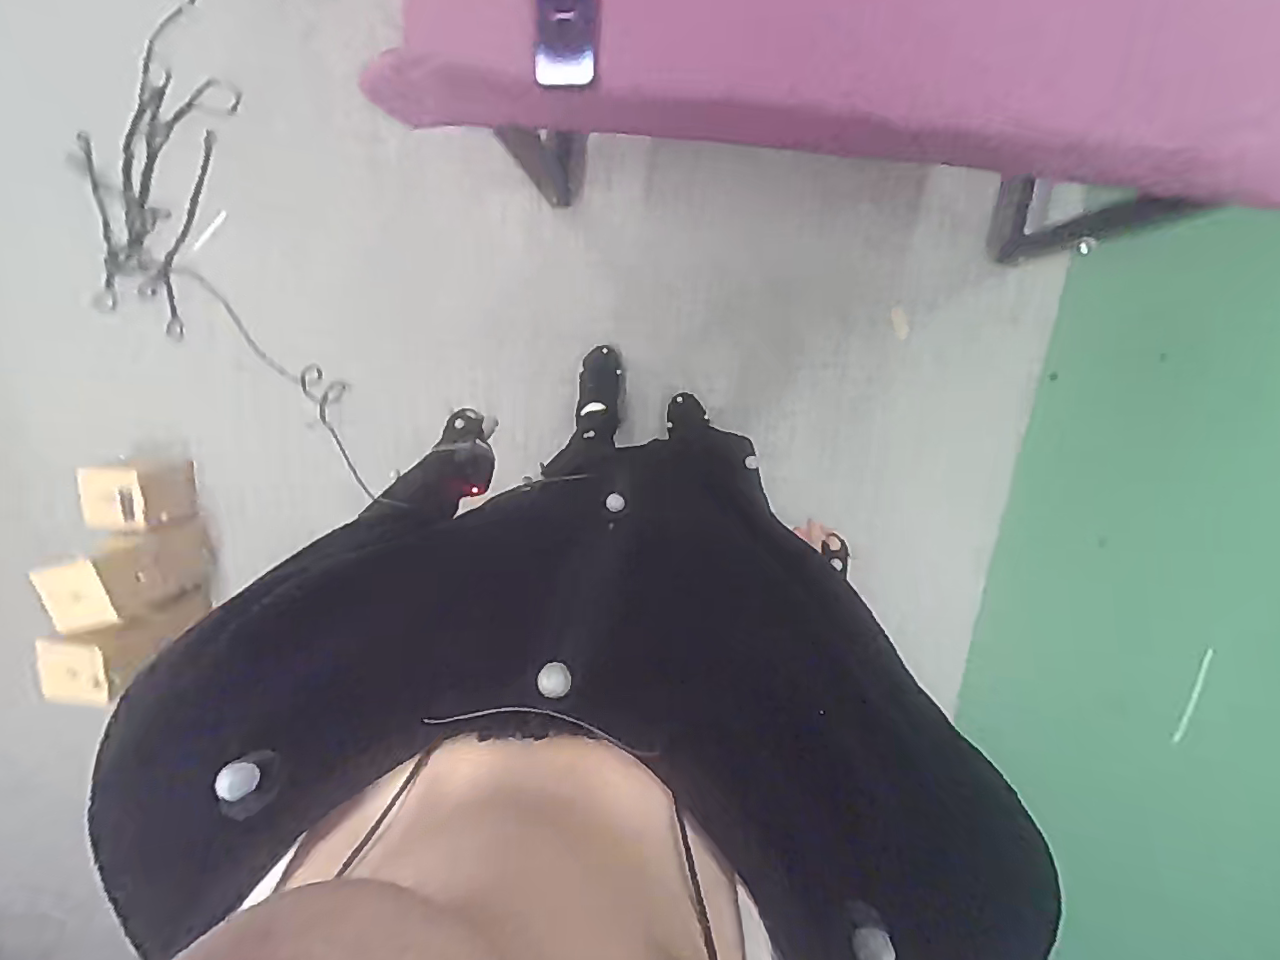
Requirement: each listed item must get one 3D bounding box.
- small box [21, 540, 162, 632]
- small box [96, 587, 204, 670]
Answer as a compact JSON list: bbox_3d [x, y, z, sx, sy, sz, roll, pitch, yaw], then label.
[{"bbox_3d":[-1.382,0.264,1.382,0.179,0.176,0.168,-11,102,6],"label":"small box"},{"bbox_3d":[-1.431,0.426,1.587,0.168,0.176,0.179,6,103,2],"label":"small box"}]
